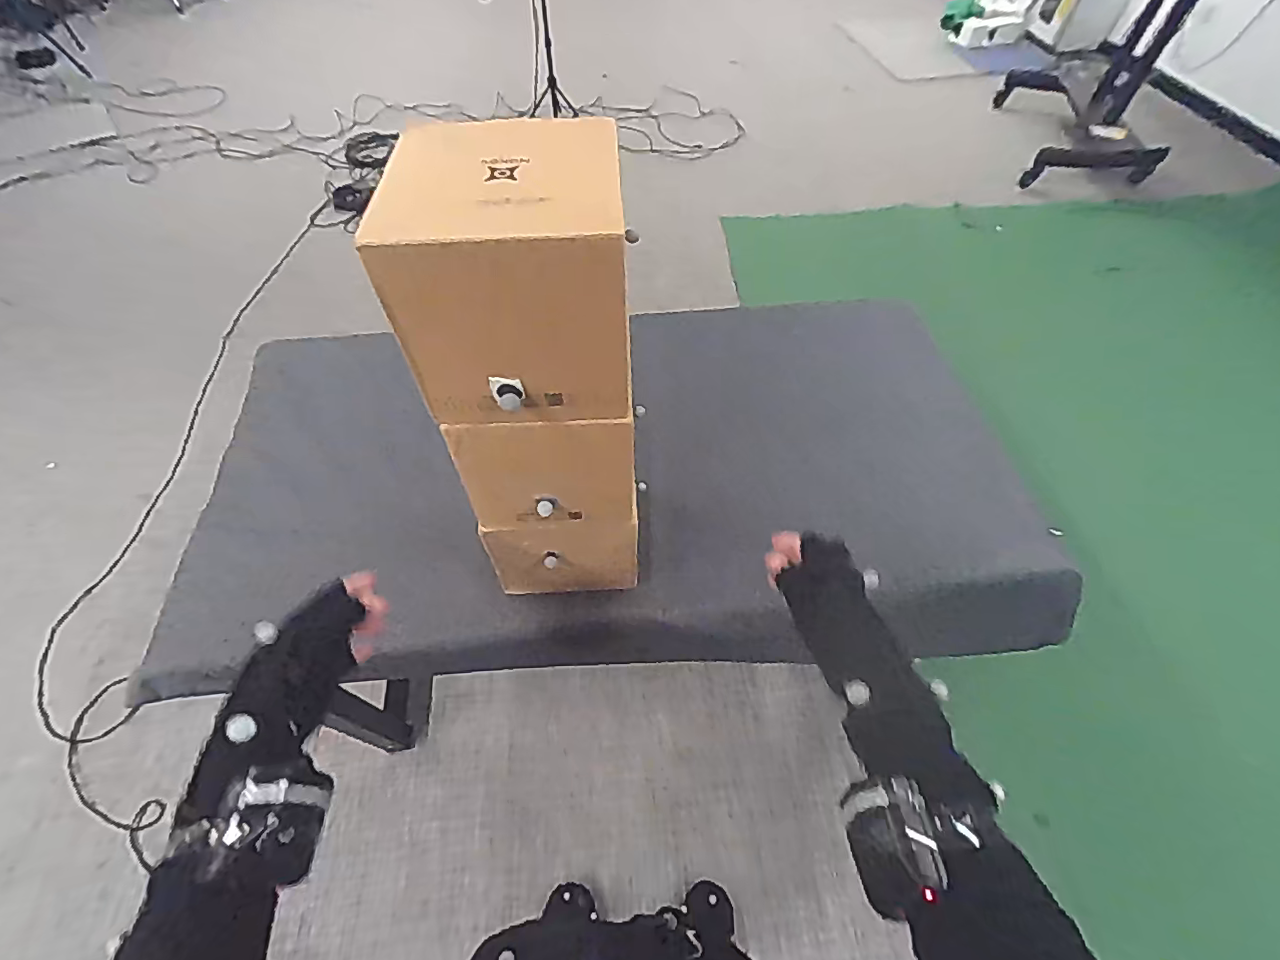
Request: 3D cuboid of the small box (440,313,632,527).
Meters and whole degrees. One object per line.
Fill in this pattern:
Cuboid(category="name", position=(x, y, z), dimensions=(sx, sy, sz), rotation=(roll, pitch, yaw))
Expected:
Cuboid(category="small box", position=(-0.093, -0.068, 0.574), dimensions=(0.168, 0.176, 0.179), rotation=(0, 55, -2))

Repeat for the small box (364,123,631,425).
Cuboid(category="small box", position=(-0.093, -0.165, 0.445), dimensions=(0.168, 0.176, 0.179), rotation=(-3, 55, -2))

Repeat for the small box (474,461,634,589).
Cuboid(category="small box", position=(-0.099, 0.034, 0.703), dimensions=(0.179, 0.176, 0.168), rotation=(-2, 54, -2))
